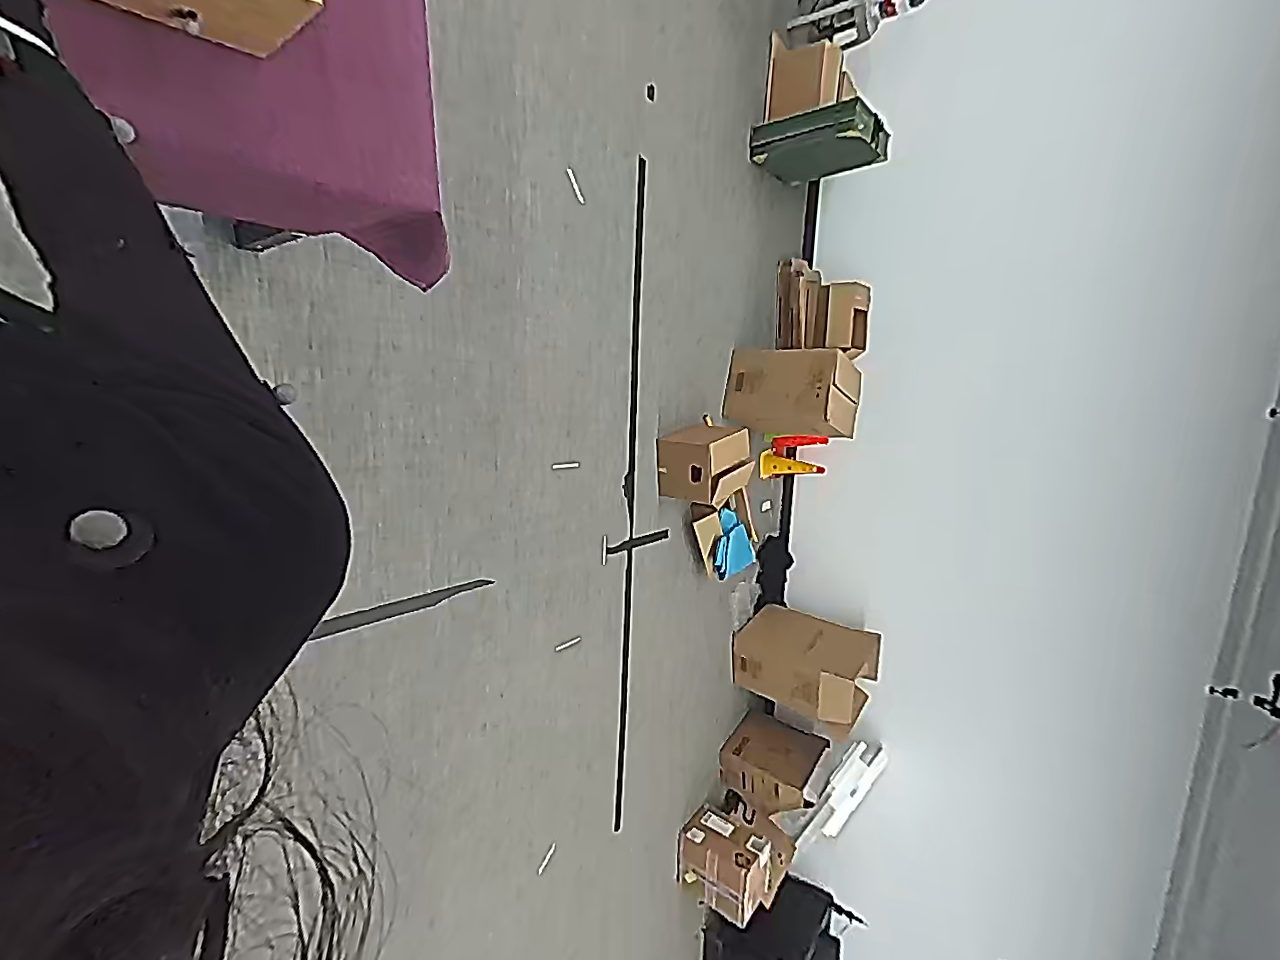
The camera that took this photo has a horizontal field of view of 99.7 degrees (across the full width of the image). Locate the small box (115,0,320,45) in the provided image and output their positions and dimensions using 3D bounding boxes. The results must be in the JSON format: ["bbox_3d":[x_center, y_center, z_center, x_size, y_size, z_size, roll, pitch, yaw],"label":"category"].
[{"bbox_3d":[-0.459,-0.580,0.541,0.179,0.176,0.168,-18,111,-52],"label":"small box"}]
